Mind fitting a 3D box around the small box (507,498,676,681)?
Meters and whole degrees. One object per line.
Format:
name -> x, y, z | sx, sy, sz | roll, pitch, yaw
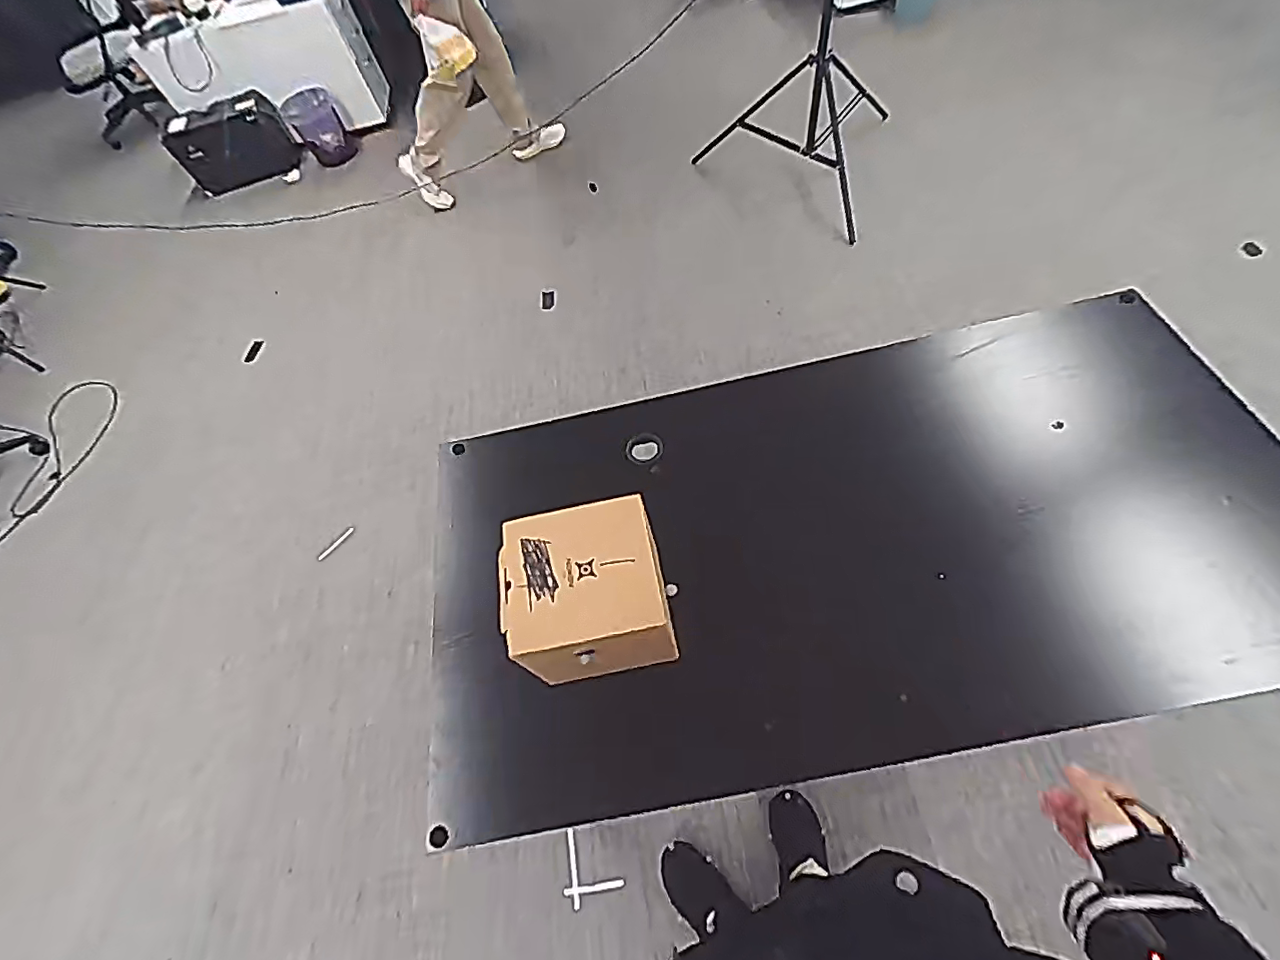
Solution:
small box -> -0.058, 0.149, 0.698 | 0.179, 0.176, 0.168 | -12, 59, 1
